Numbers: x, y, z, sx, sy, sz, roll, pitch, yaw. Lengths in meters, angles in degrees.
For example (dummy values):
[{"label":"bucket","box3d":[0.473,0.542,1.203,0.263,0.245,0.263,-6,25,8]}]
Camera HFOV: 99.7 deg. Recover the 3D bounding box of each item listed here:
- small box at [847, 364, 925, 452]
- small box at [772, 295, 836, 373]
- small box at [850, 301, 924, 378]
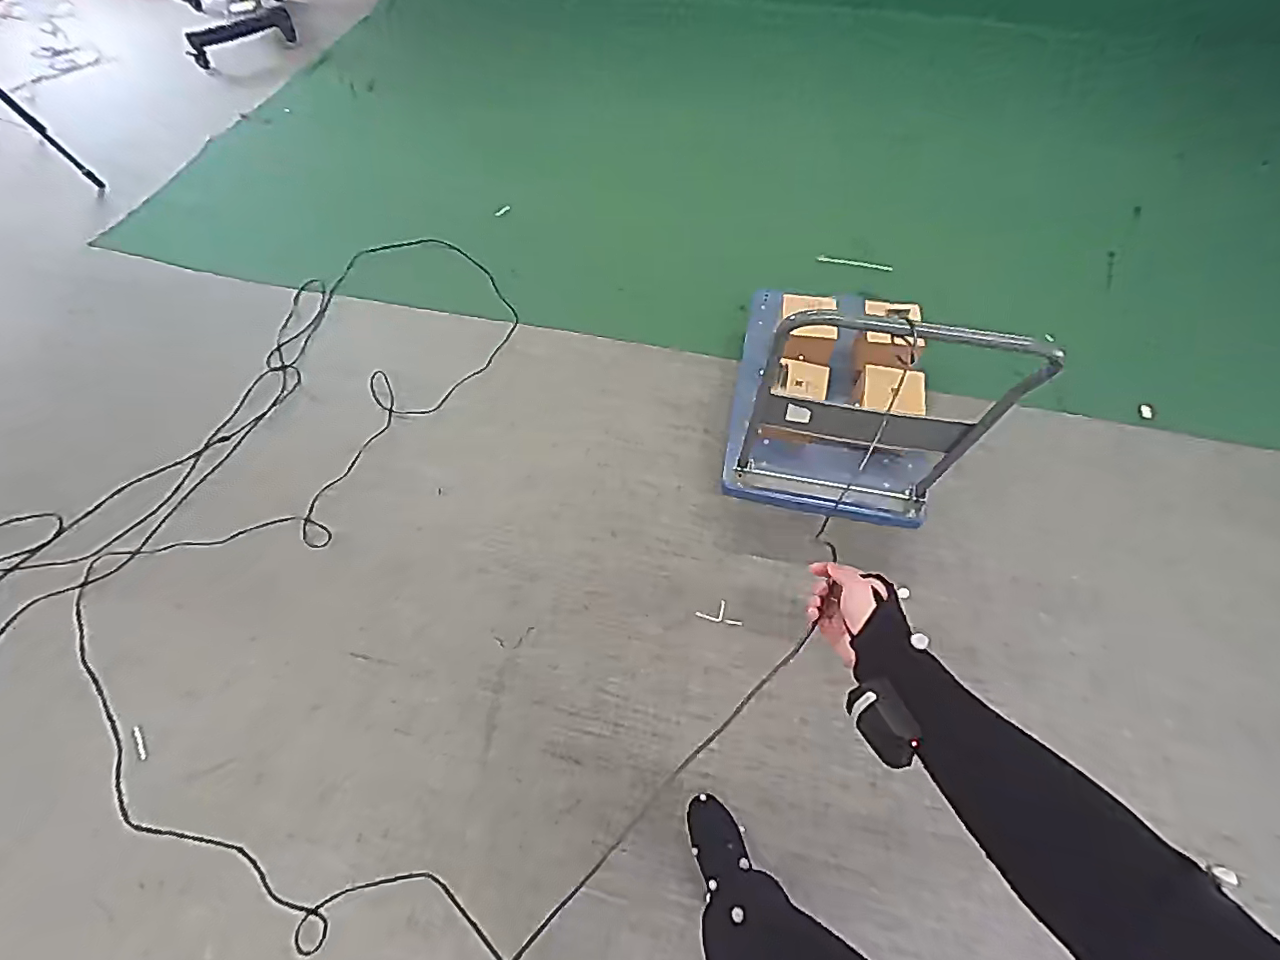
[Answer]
[{"label":"small box","box3d":[0.716,-0.208,1.585,0.168,0.176,0.179,11,62,8]},{"label":"small box","box3d":[0.526,-0.466,1.739,0.168,0.176,0.179,7,61,5]},{"label":"small box","box3d":[0.775,-0.438,1.714,0.168,0.176,0.179,6,62,7]}]
